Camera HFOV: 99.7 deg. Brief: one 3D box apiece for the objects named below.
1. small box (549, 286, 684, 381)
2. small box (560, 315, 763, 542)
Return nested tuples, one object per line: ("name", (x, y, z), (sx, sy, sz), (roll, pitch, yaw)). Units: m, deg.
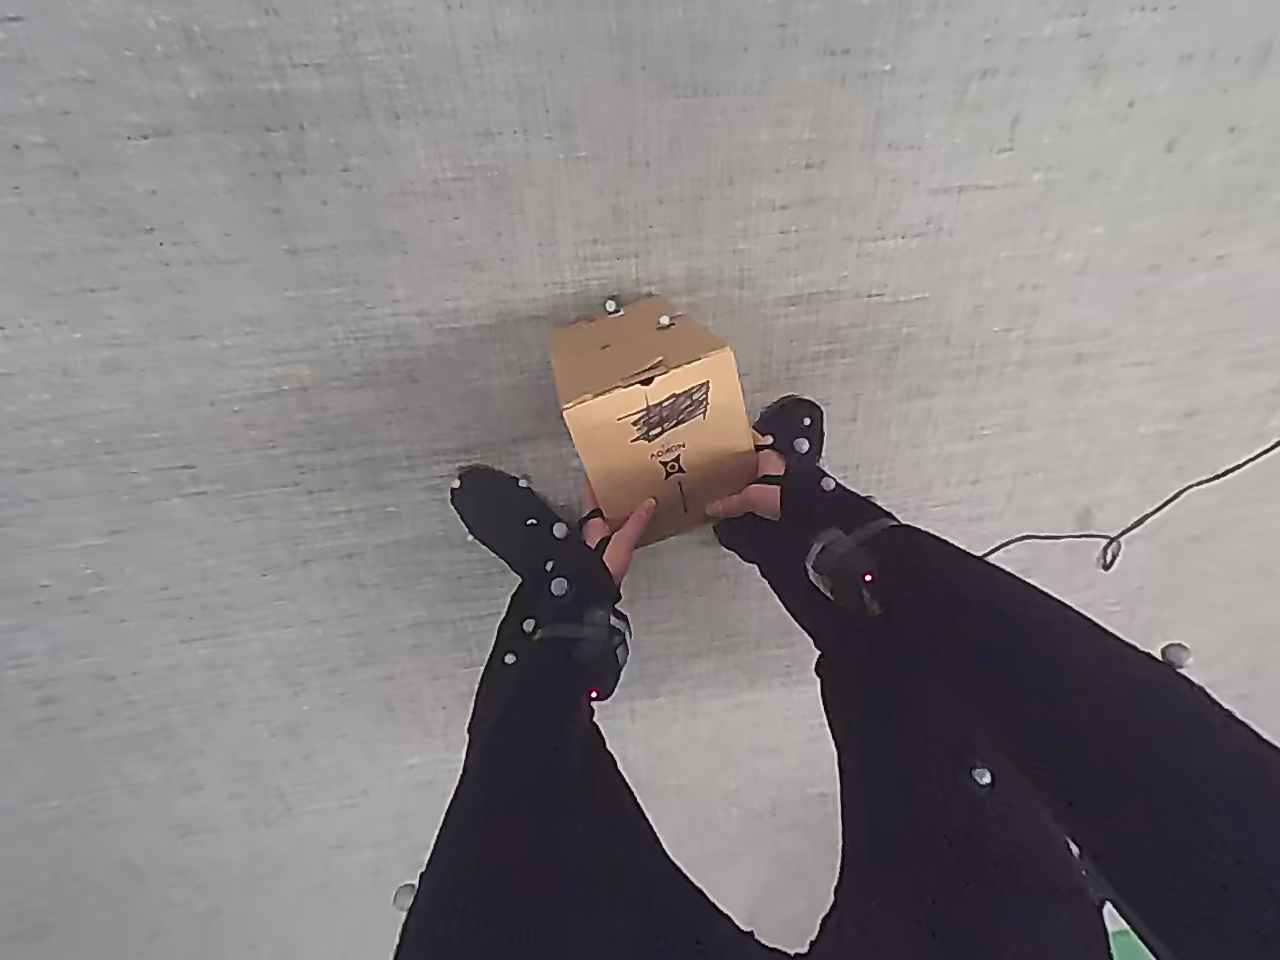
("small box", (-0.015, -0.145, 0.736), (0.168, 0.176, 0.179), (-20, 118, 1))
("small box", (0.016, -0.068, 0.595), (0.168, 0.176, 0.179), (-19, 120, 1))
